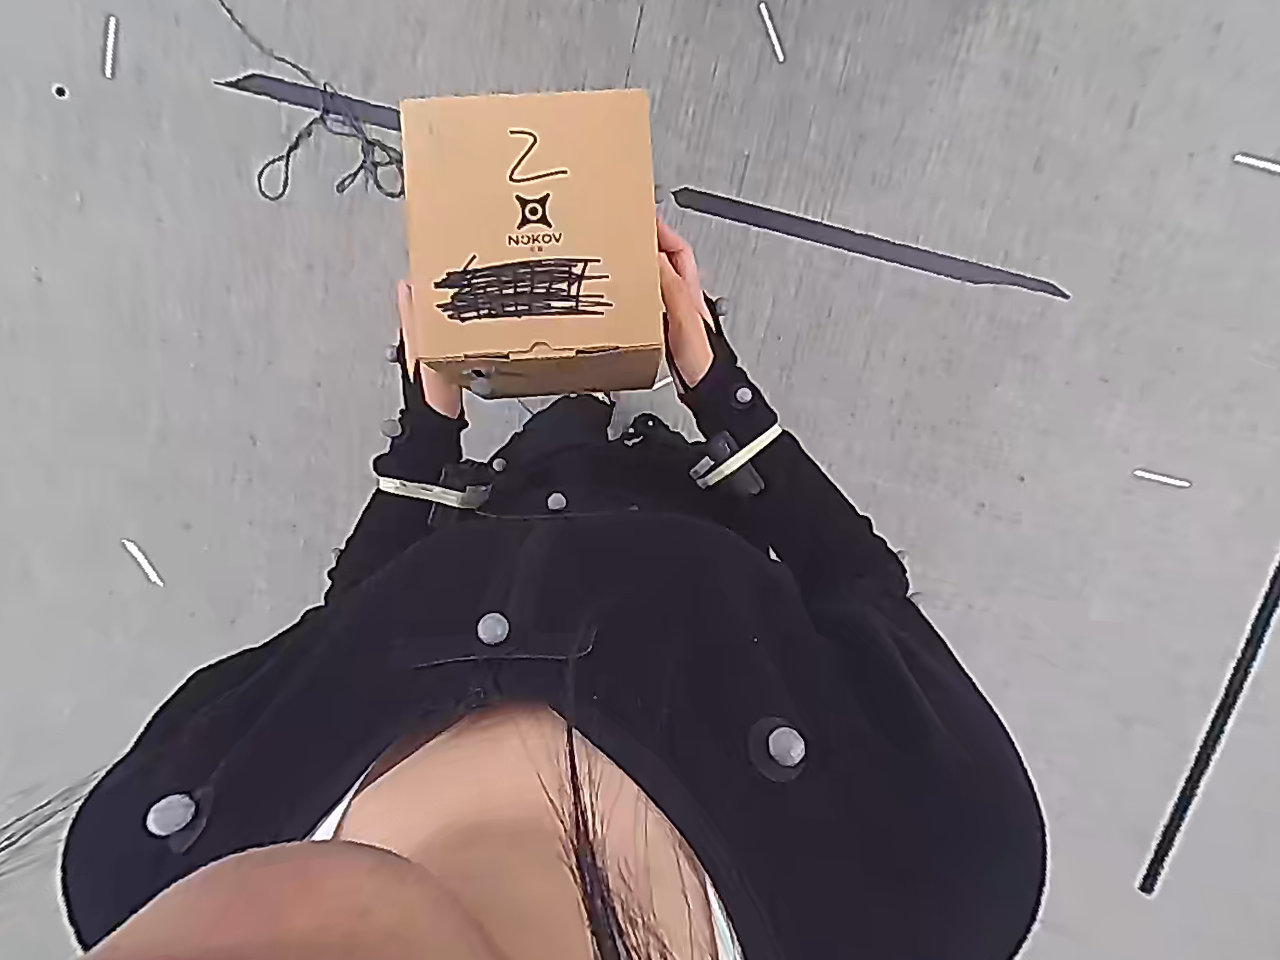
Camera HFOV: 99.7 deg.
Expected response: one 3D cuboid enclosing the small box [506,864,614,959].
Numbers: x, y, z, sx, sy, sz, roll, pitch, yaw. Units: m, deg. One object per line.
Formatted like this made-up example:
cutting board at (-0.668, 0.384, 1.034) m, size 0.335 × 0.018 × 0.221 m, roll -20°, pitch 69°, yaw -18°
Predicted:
small box at (-0.142, 0.816, 0.929) m, size 0.168 × 0.176 × 0.179 m, roll 12°, pitch 99°, yaw -1°
